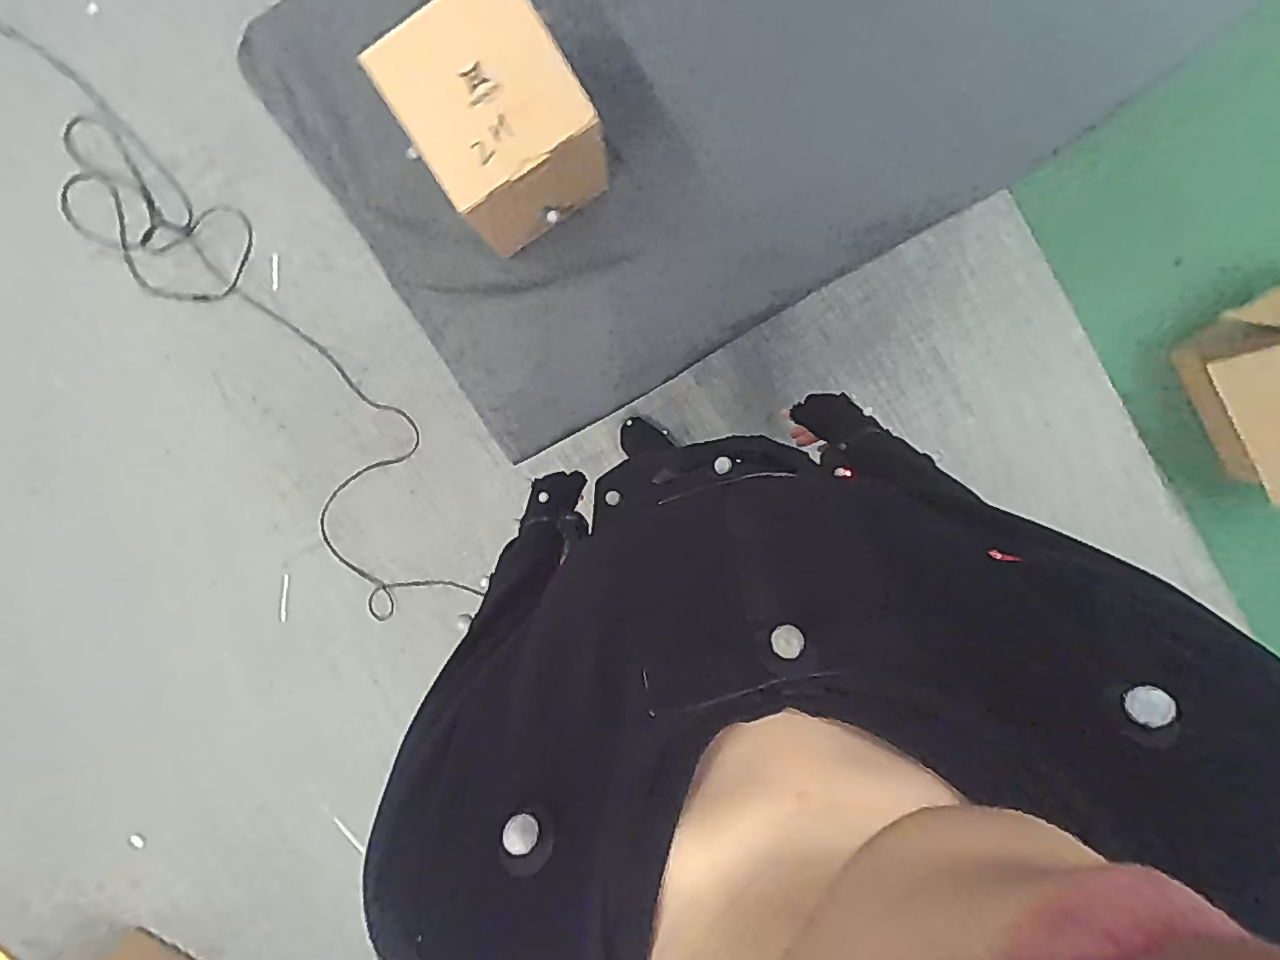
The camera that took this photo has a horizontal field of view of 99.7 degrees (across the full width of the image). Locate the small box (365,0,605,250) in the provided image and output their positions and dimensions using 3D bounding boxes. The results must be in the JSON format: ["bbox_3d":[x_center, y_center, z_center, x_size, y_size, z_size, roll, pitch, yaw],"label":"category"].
[{"bbox_3d":[-0.154,-0.394,0.602,0.168,0.176,0.179,-32,96,5],"label":"small box"}]
